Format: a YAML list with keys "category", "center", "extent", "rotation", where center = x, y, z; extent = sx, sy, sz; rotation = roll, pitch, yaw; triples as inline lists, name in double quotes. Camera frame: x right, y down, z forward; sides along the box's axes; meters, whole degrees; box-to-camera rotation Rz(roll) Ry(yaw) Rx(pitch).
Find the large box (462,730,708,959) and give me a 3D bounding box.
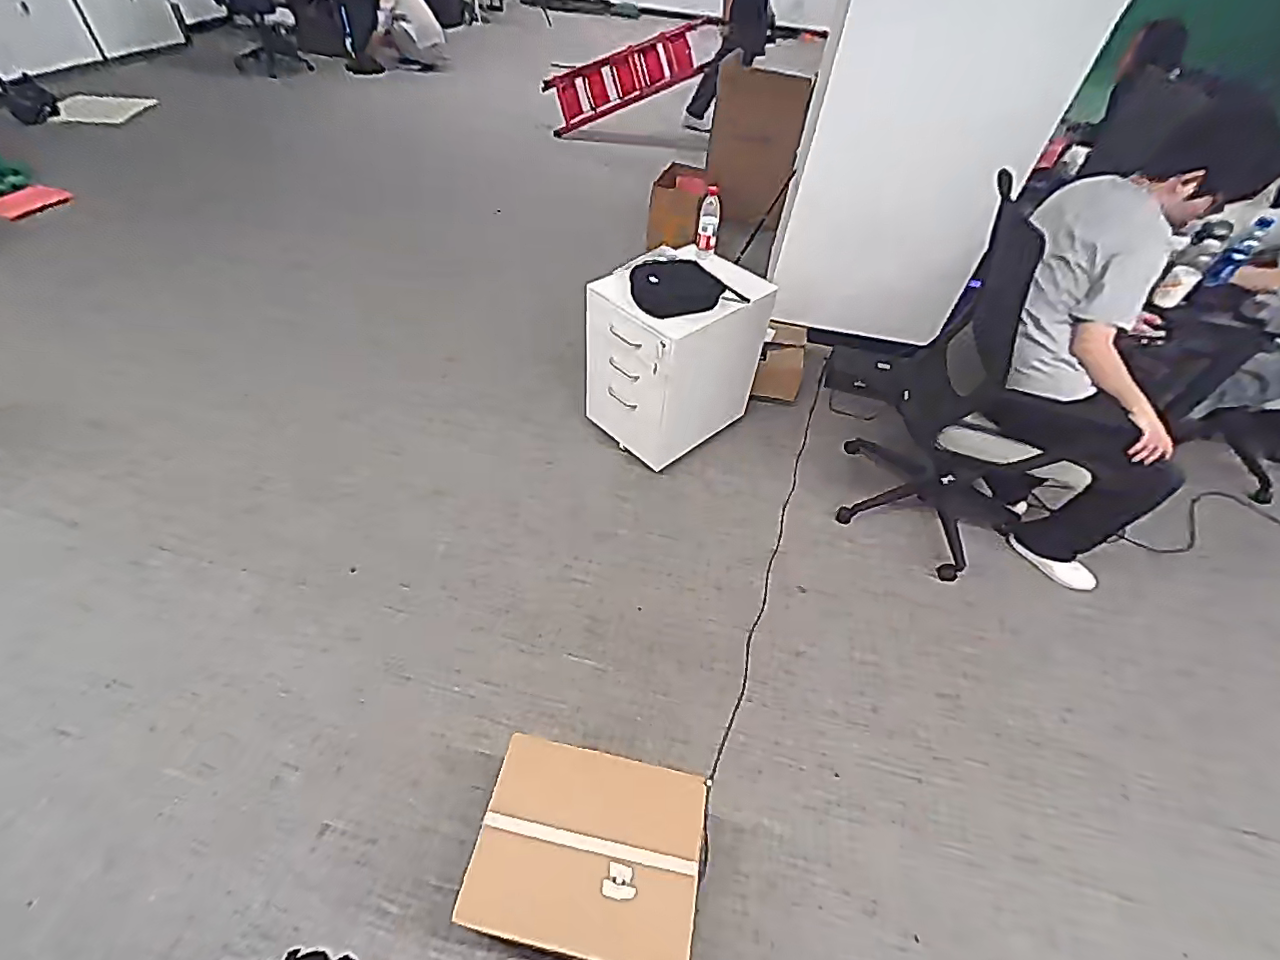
- category: "large box"
  center: [-0.097, 0.762, 1.114]
  extent: [0.408, 0.320, 0.320]
  rotation: [12, 49, 4]
